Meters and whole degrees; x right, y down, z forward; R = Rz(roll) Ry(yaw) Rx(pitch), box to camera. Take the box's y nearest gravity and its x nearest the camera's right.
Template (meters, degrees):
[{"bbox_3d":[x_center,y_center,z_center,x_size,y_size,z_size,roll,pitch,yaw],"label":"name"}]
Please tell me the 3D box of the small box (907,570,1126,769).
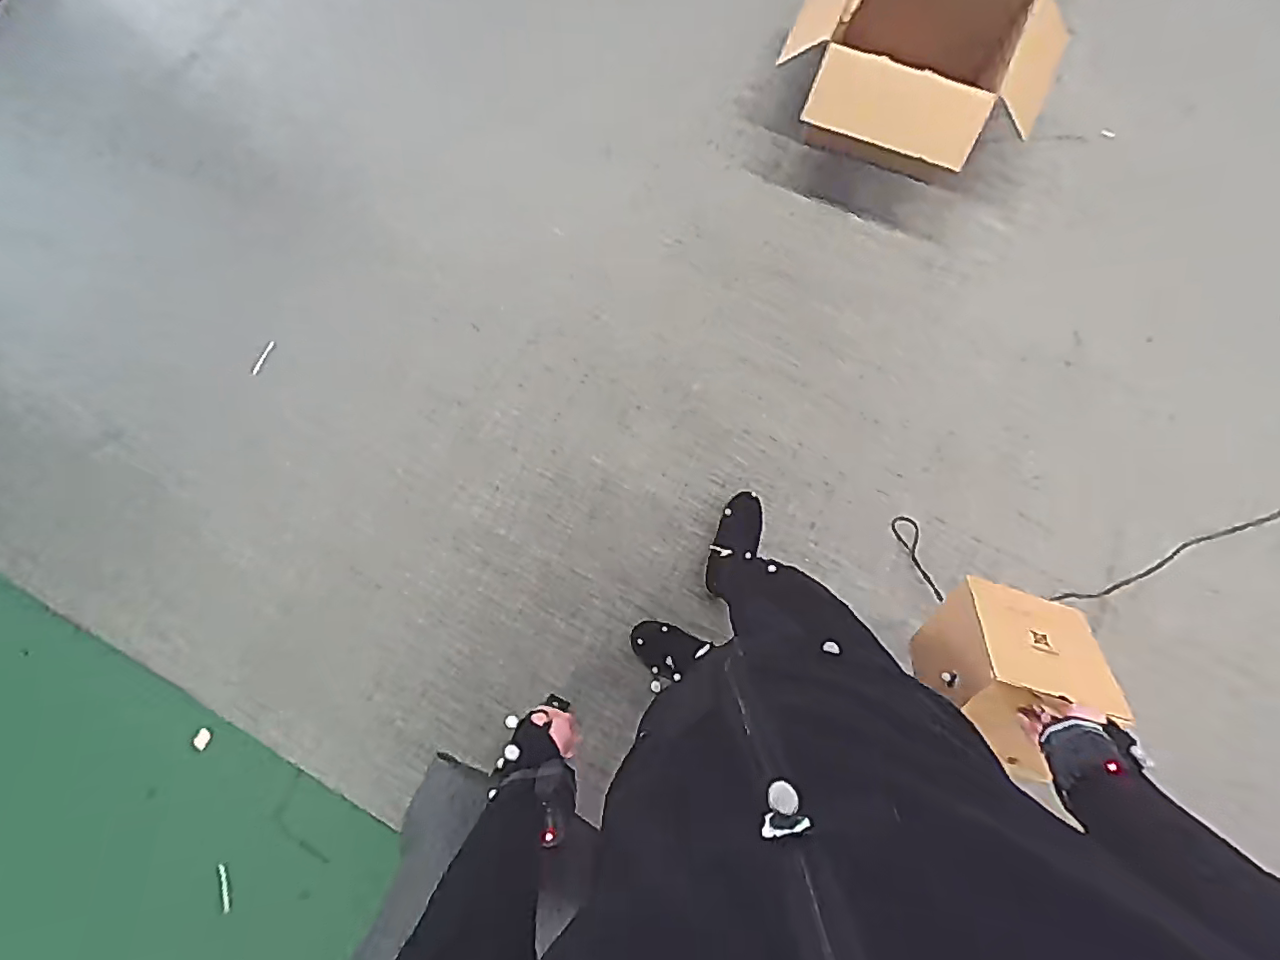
[{"bbox_3d":[0.499,0.264,0.753,0.168,0.179,0.176,19,128,5],"label":"small box"}]
